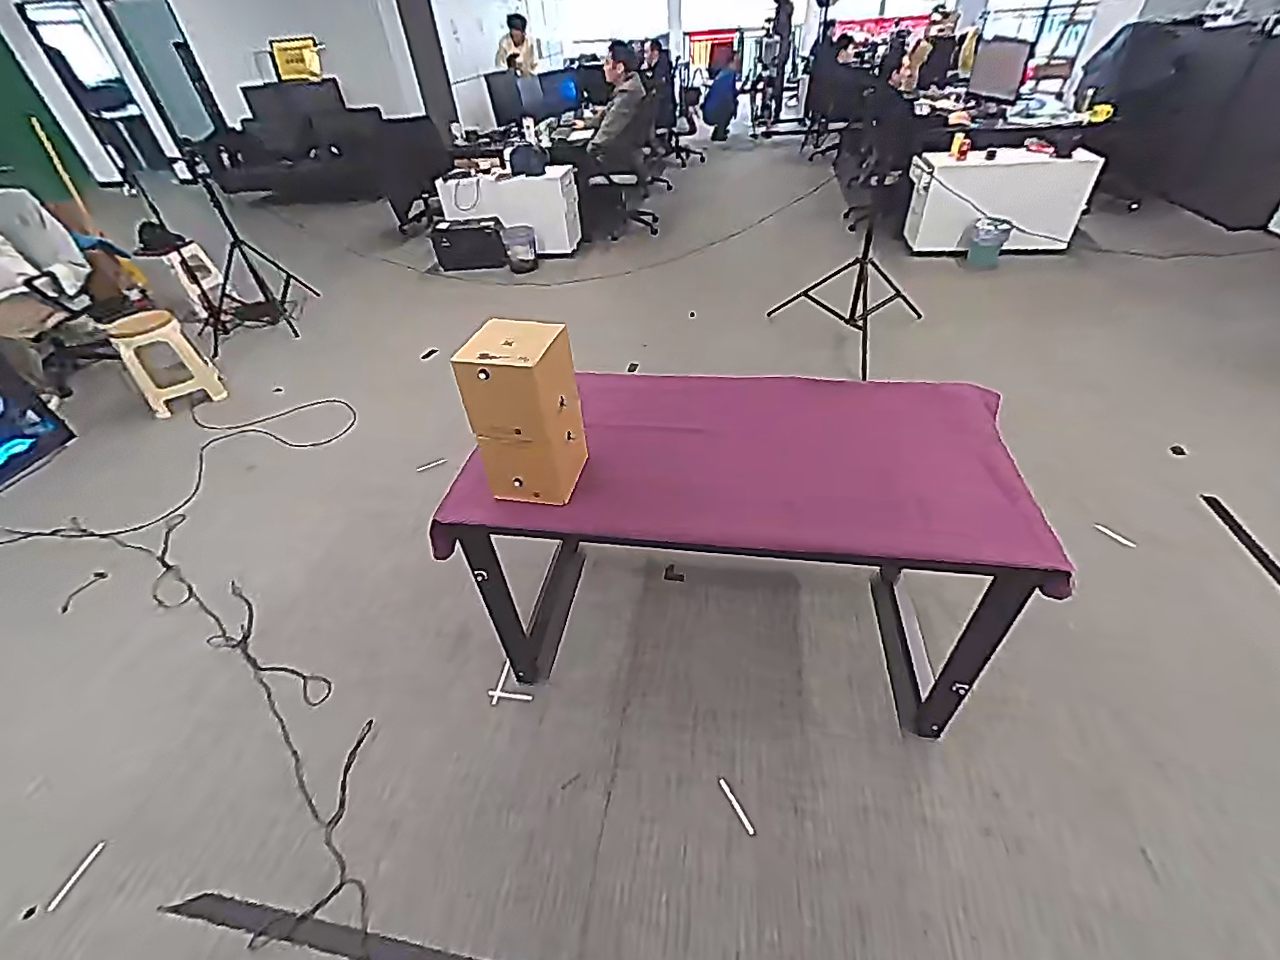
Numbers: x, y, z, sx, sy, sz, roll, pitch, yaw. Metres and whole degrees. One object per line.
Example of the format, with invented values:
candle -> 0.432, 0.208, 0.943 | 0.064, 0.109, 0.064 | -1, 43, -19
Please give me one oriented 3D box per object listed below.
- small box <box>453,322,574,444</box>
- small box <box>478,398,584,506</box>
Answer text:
small box -> -0.237, -0.193, 1.068 | 0.168, 0.176, 0.179 | 7, 41, 13
small box -> -0.224, -0.068, 1.173 | 0.168, 0.176, 0.179 | 5, 41, 11
